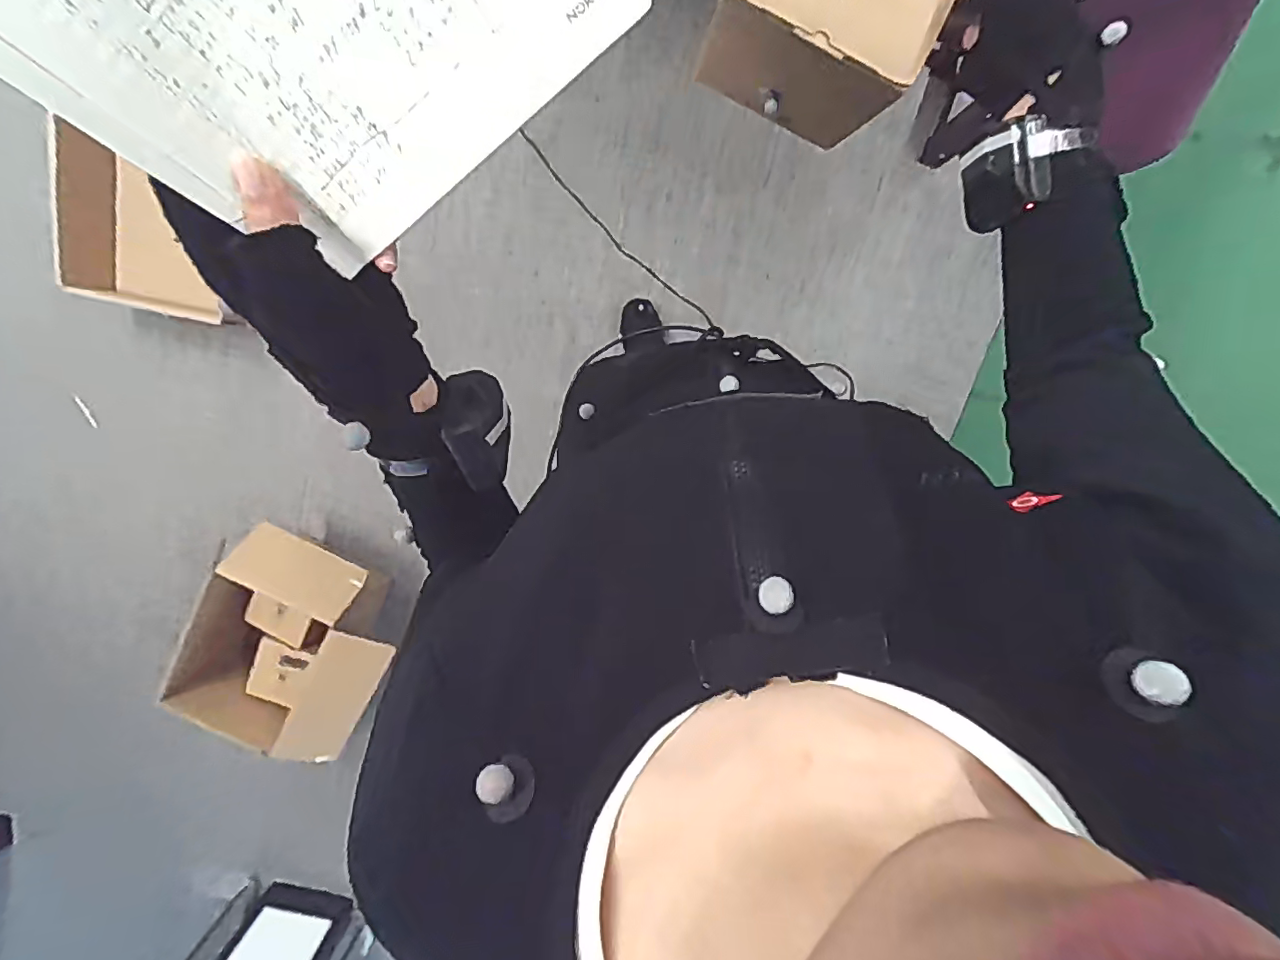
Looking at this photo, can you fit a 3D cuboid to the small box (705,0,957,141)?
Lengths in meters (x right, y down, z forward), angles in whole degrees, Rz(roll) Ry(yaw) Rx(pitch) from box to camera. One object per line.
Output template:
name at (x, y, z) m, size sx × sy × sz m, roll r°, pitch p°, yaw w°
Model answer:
small box at (0.169, -0.437, 0.466) m, size 0.168 × 0.176 × 0.179 m, roll 21°, pitch 106°, yaw -10°
